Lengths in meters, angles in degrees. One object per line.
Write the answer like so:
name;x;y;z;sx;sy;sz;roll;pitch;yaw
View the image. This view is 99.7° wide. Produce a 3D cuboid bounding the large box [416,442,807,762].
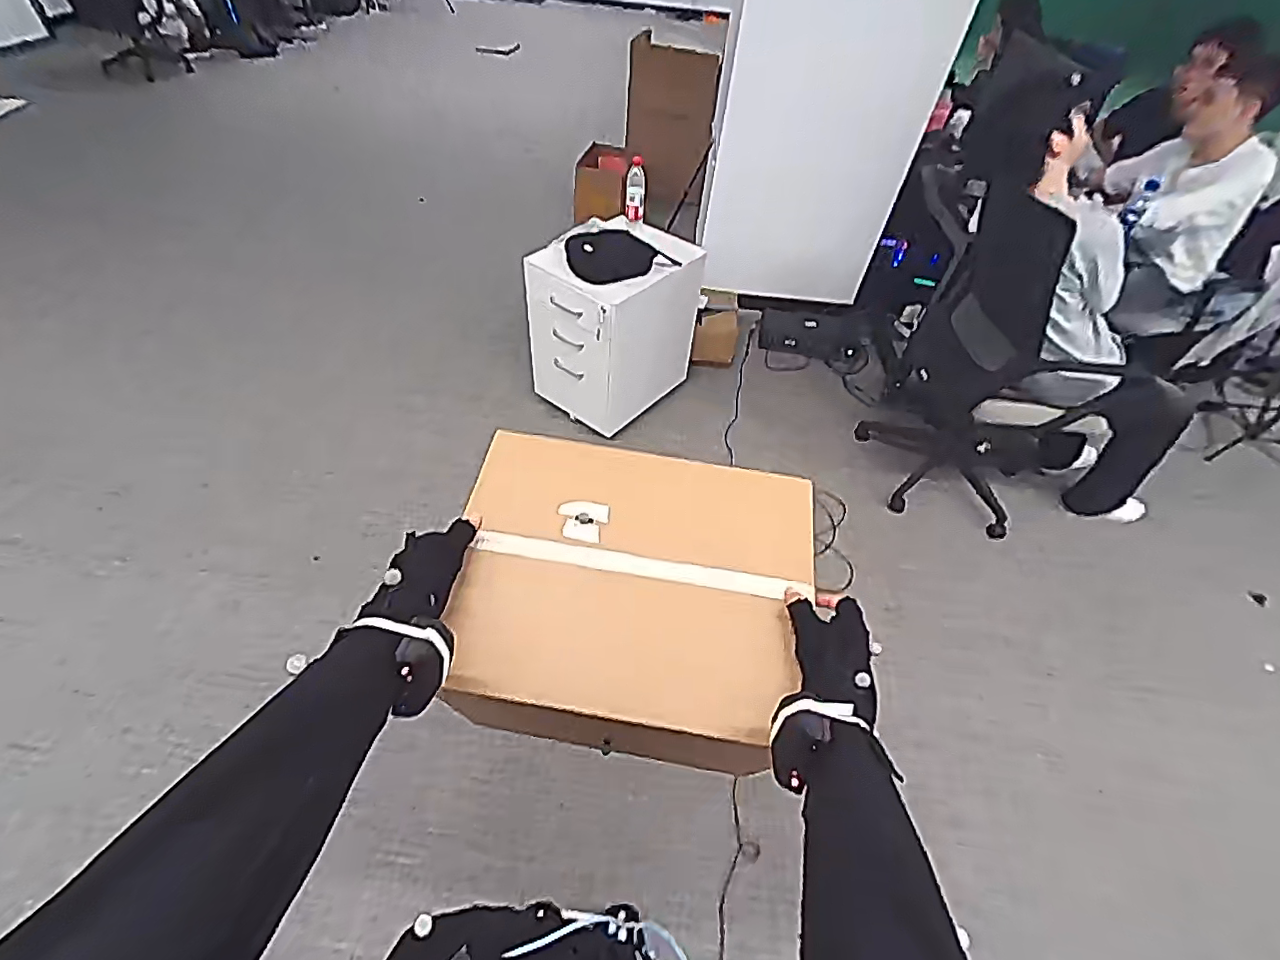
large box;-0.015;0.182;0.742;0.408;0.320;0.320;9;57;3
